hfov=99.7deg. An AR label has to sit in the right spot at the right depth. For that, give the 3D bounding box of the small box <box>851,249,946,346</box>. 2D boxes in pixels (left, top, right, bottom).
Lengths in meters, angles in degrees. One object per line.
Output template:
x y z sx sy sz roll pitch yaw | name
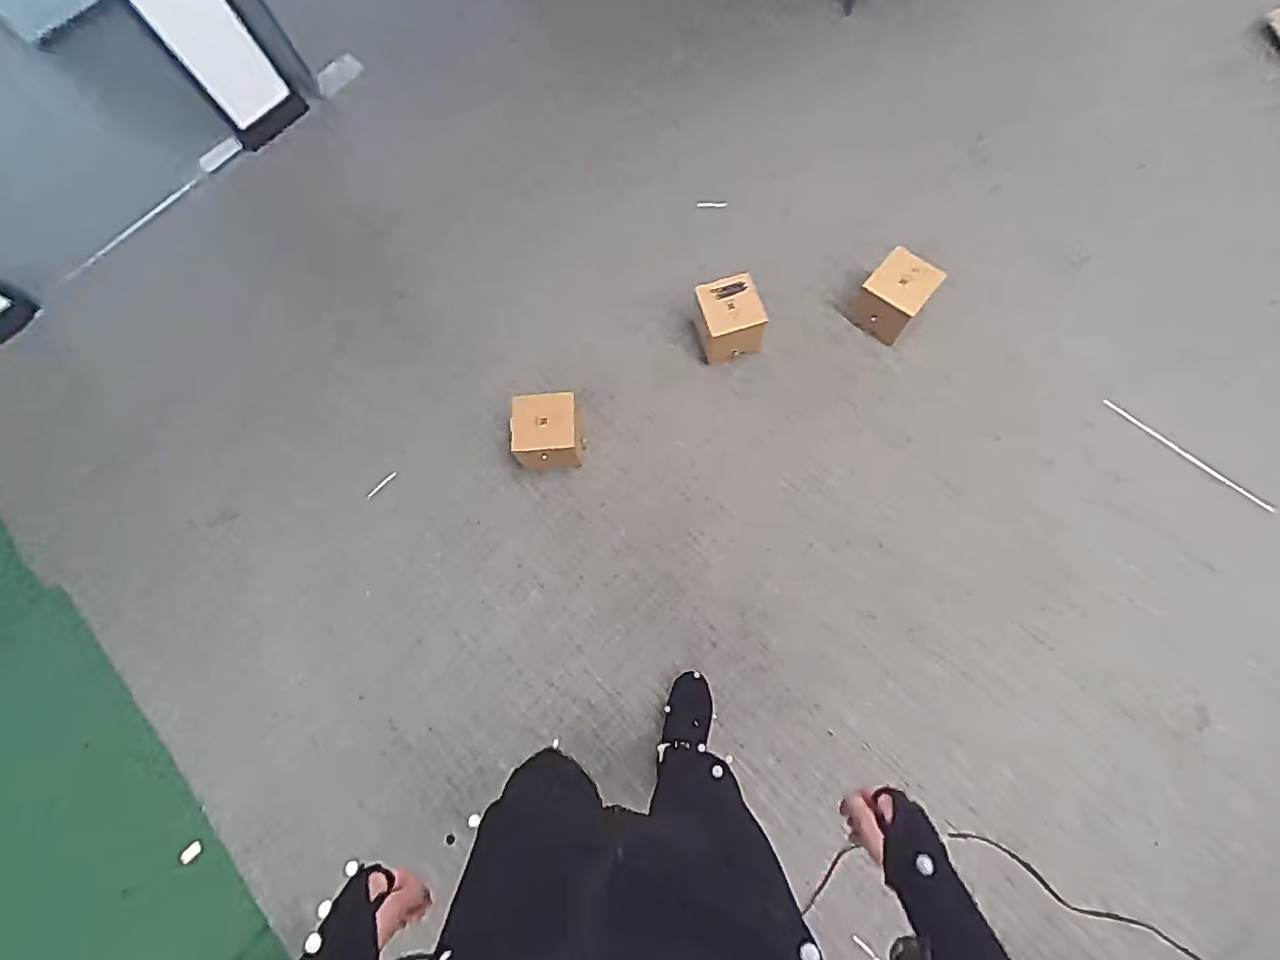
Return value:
0.751 -0.530 1.597 0.168 0.176 0.179 39 80 14 | small box
